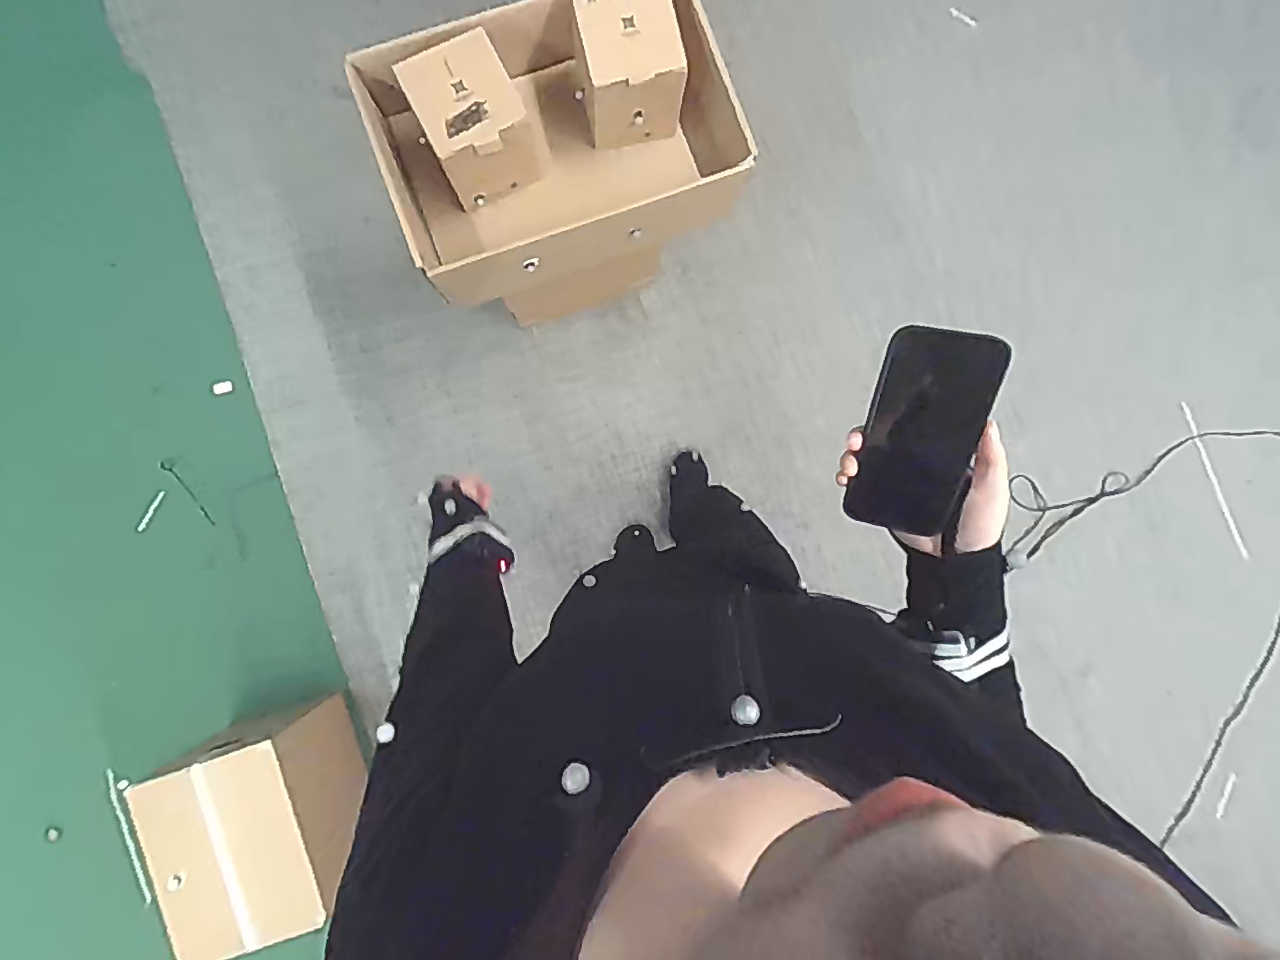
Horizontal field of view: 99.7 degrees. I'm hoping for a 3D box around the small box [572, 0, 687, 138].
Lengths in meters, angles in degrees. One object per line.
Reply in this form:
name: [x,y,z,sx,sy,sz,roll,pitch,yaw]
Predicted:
small box: [-0.020,-0.752,0.973,0.168,0.176,0.179,-13,90,-3]
